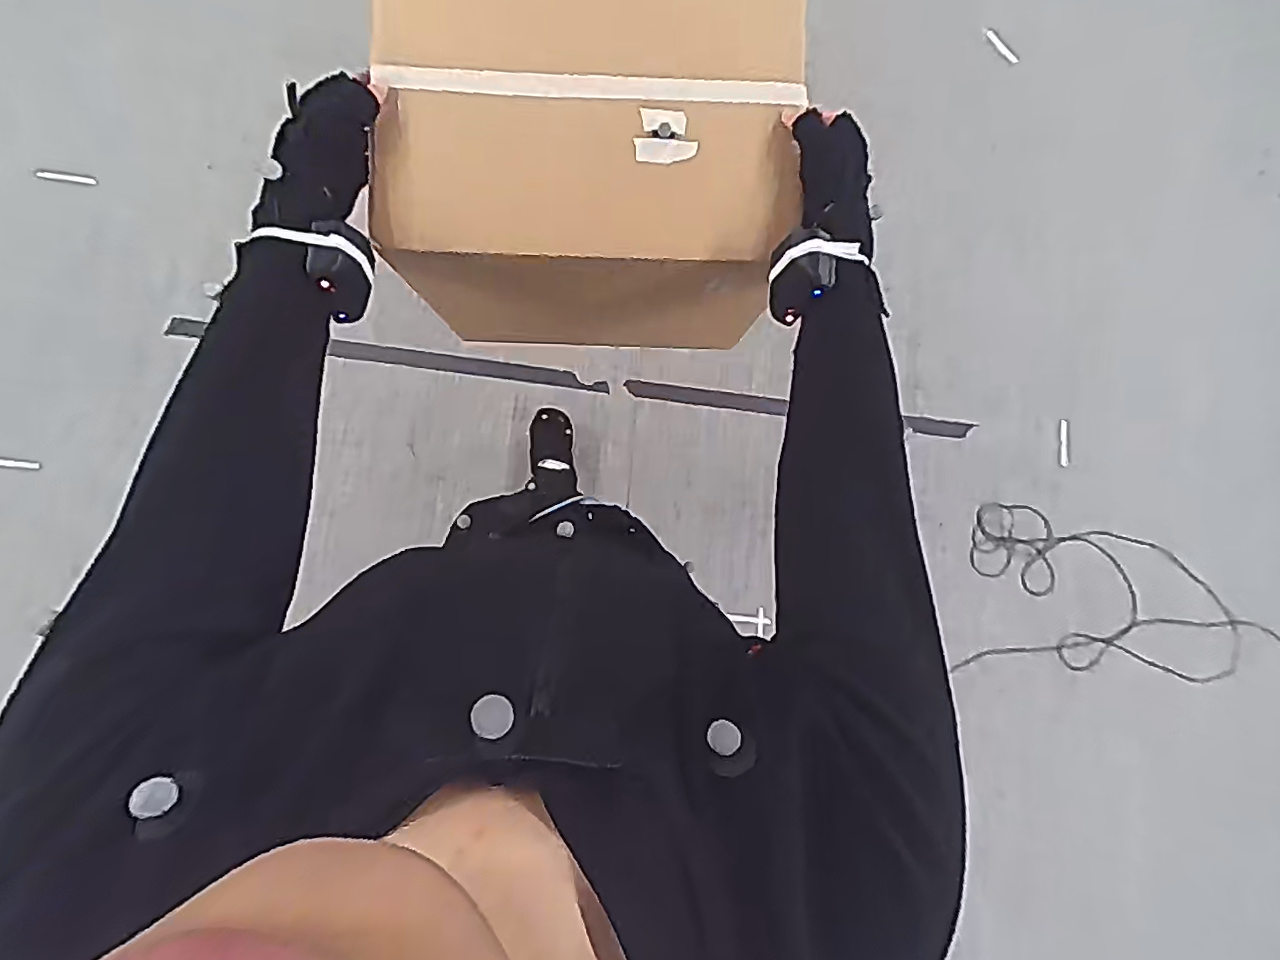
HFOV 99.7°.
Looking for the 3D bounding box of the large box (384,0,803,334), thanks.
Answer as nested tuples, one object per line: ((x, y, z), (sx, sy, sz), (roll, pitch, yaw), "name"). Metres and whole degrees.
((-0.050, -0.376, 0.663), (0.408, 0.320, 0.320), (1, 90, -4), "large box")
